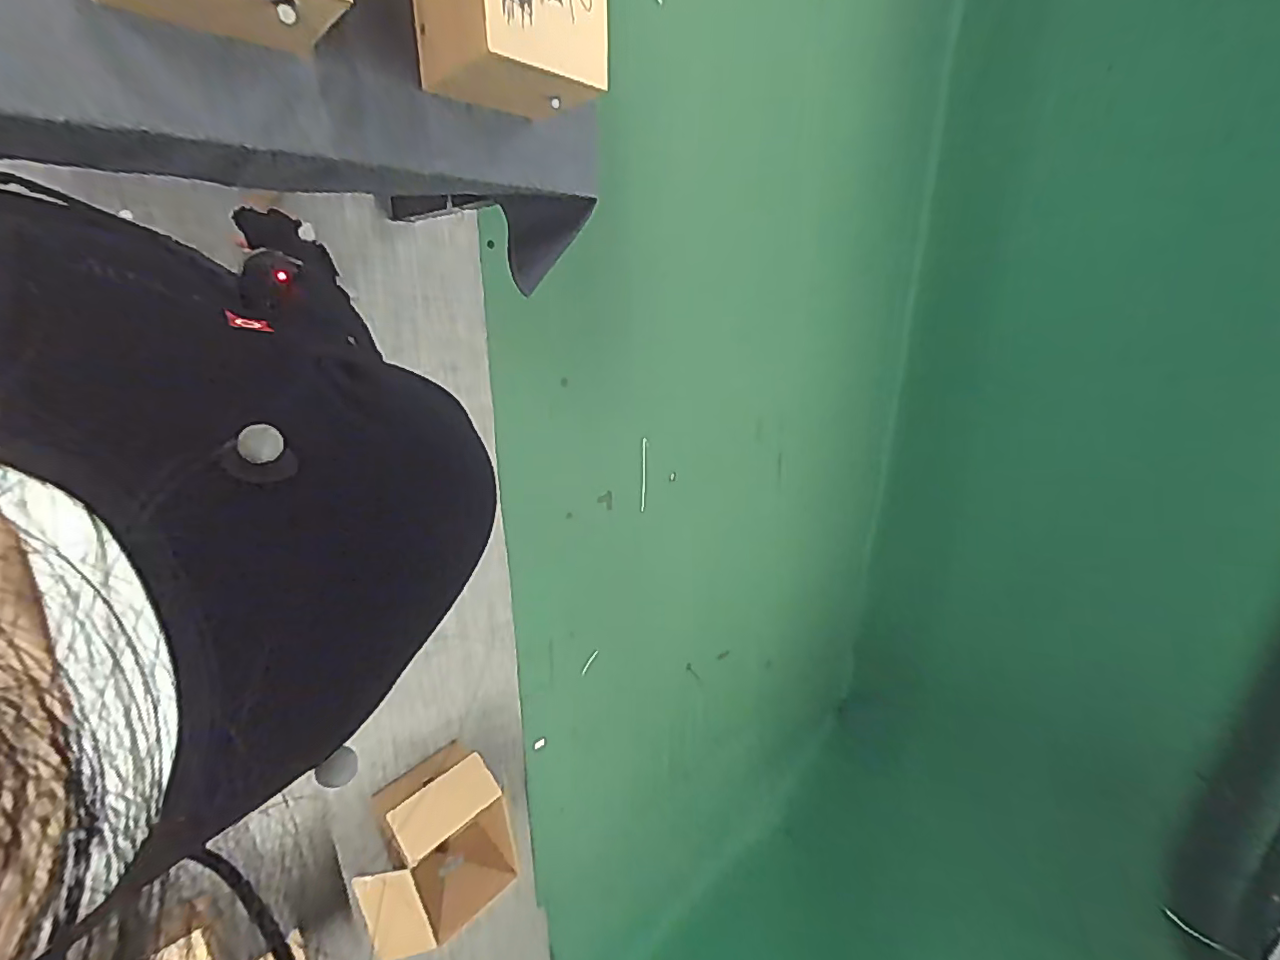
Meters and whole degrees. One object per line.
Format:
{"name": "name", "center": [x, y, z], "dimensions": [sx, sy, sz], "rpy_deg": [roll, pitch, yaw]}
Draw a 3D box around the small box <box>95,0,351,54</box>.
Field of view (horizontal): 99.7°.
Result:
{"name": "small box", "center": [-0.381, -0.507, 0.468], "dimensions": [0.179, 0.176, 0.168], "rpy_deg": [-16, 114, -41]}
